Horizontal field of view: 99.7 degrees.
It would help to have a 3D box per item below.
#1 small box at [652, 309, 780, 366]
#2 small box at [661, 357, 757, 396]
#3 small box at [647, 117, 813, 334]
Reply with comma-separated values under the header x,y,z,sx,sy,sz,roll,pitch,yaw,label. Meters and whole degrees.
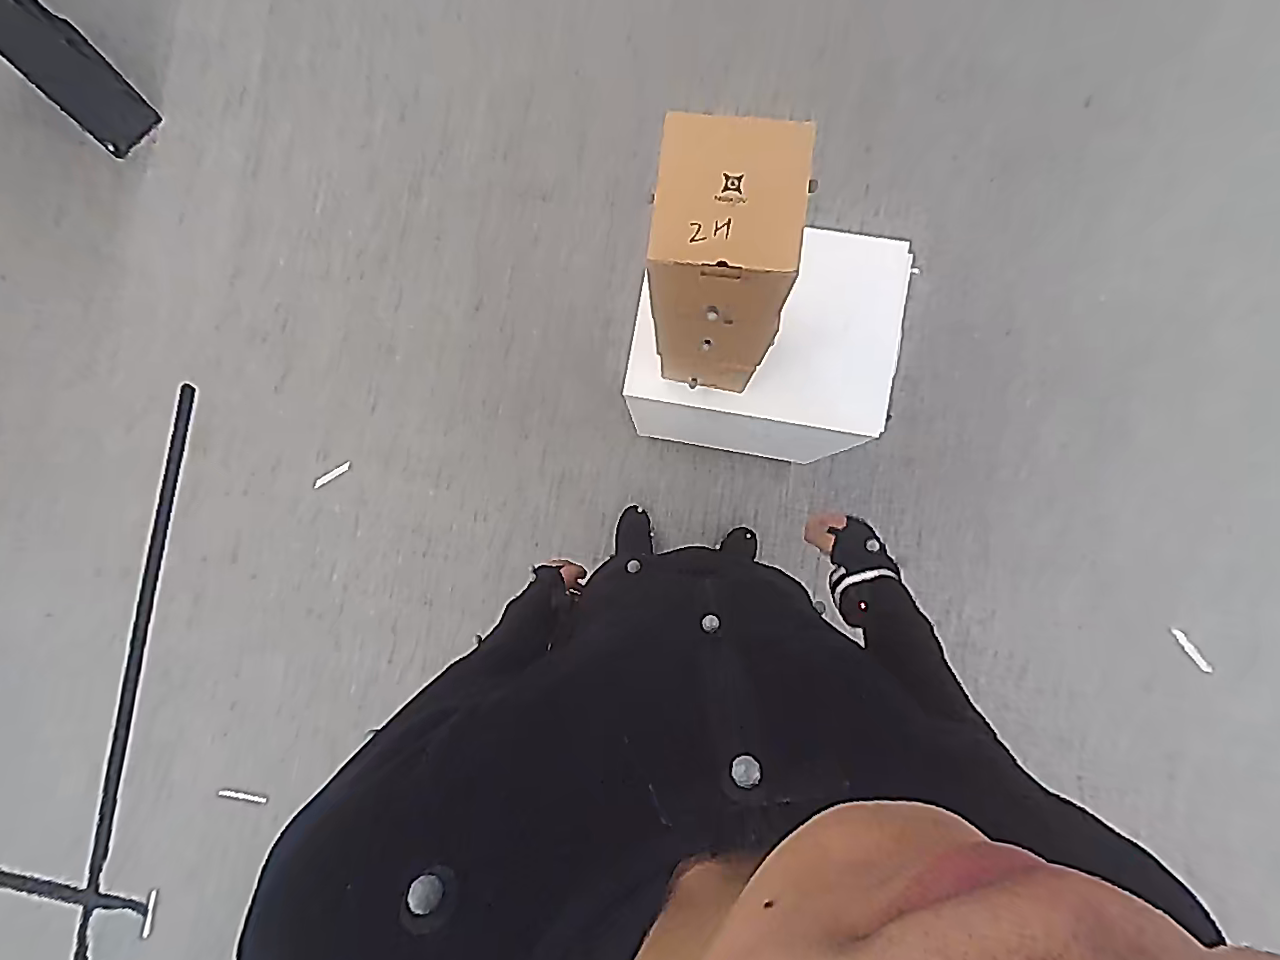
x,y,z,sx,sy,sz,roll,pitch,yaw,label
0.117,-0.281,0.828,0.179,0.176,0.168,7,85,5,small box
0.131,-0.268,0.991,0.168,0.176,0.179,11,86,4,small box
0.102,-0.300,0.665,0.168,0.176,0.179,7,85,5,small box
